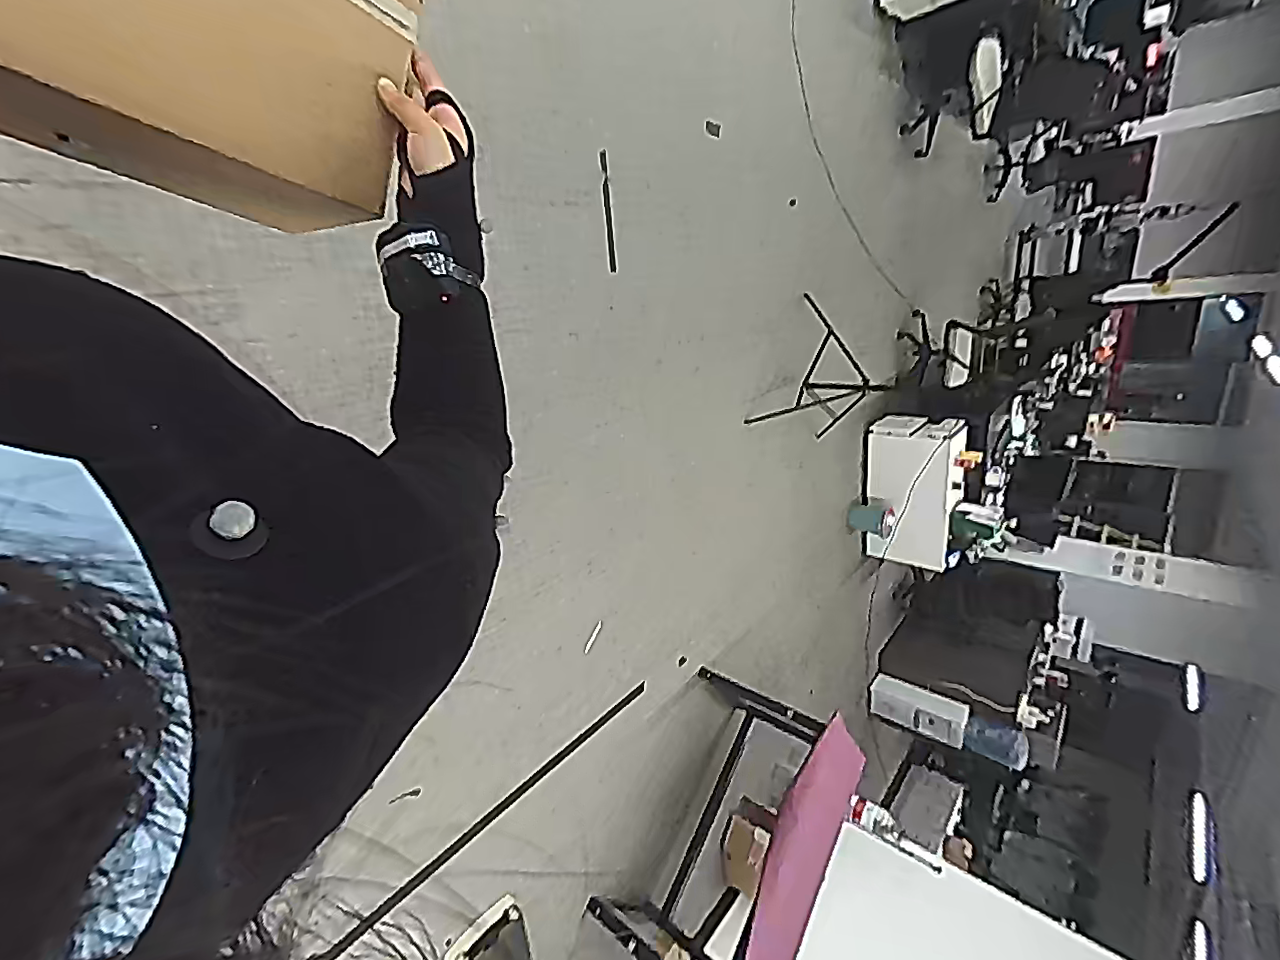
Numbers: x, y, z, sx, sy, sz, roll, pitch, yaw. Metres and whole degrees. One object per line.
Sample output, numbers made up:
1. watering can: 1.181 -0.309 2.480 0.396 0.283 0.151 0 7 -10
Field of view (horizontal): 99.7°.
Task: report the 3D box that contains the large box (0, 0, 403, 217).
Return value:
1. large box: -0.448 -0.444 0.429 0.408 0.320 0.320 4 101 -46
